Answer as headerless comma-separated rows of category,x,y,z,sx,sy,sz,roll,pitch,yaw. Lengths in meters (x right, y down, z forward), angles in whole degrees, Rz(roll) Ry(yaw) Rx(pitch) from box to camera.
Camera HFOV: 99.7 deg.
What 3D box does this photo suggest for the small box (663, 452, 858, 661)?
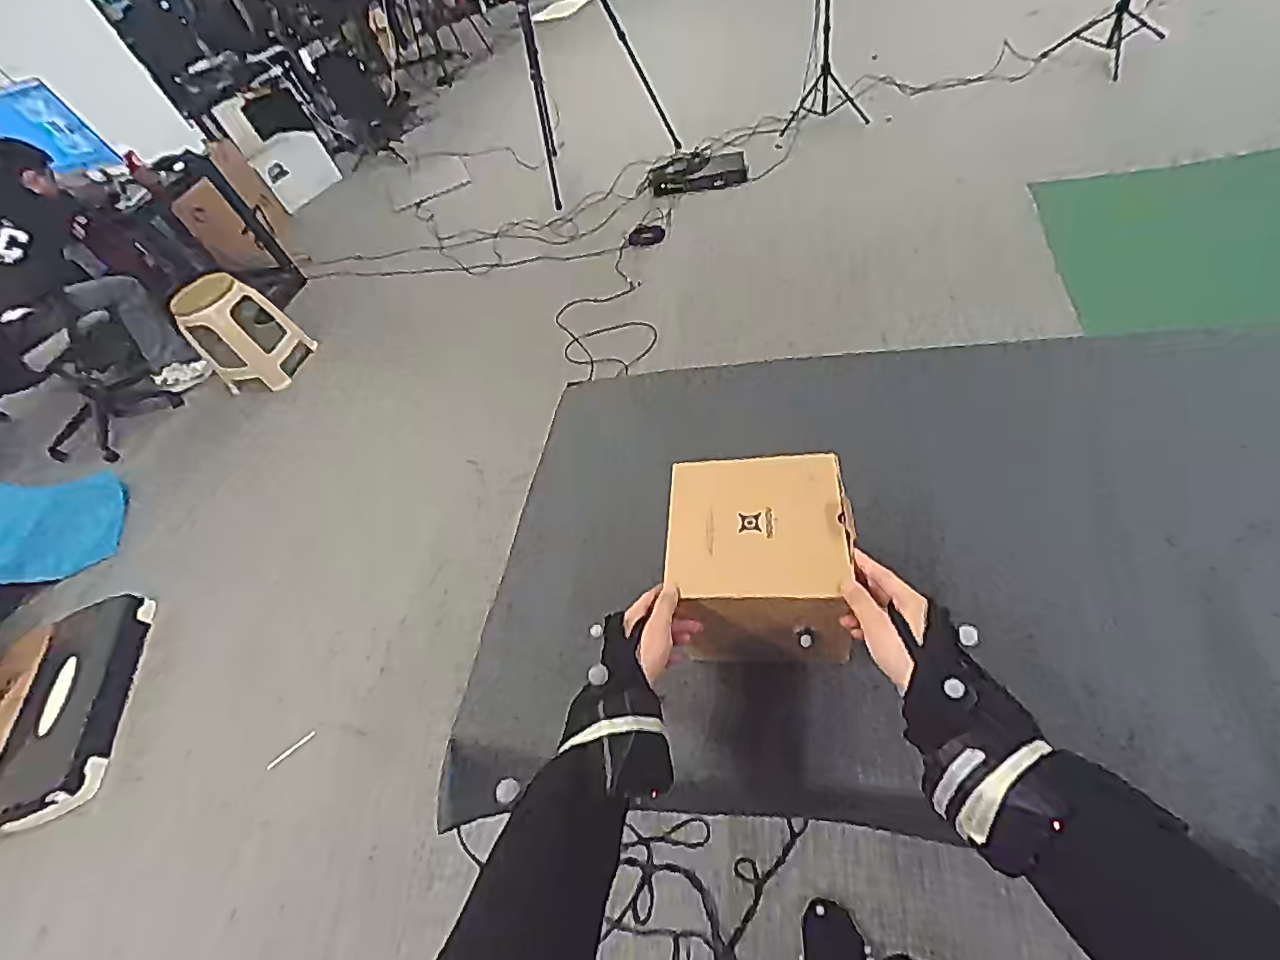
small box,0.132,0.090,0.597,0.179,0.176,0.168,-5,50,15
